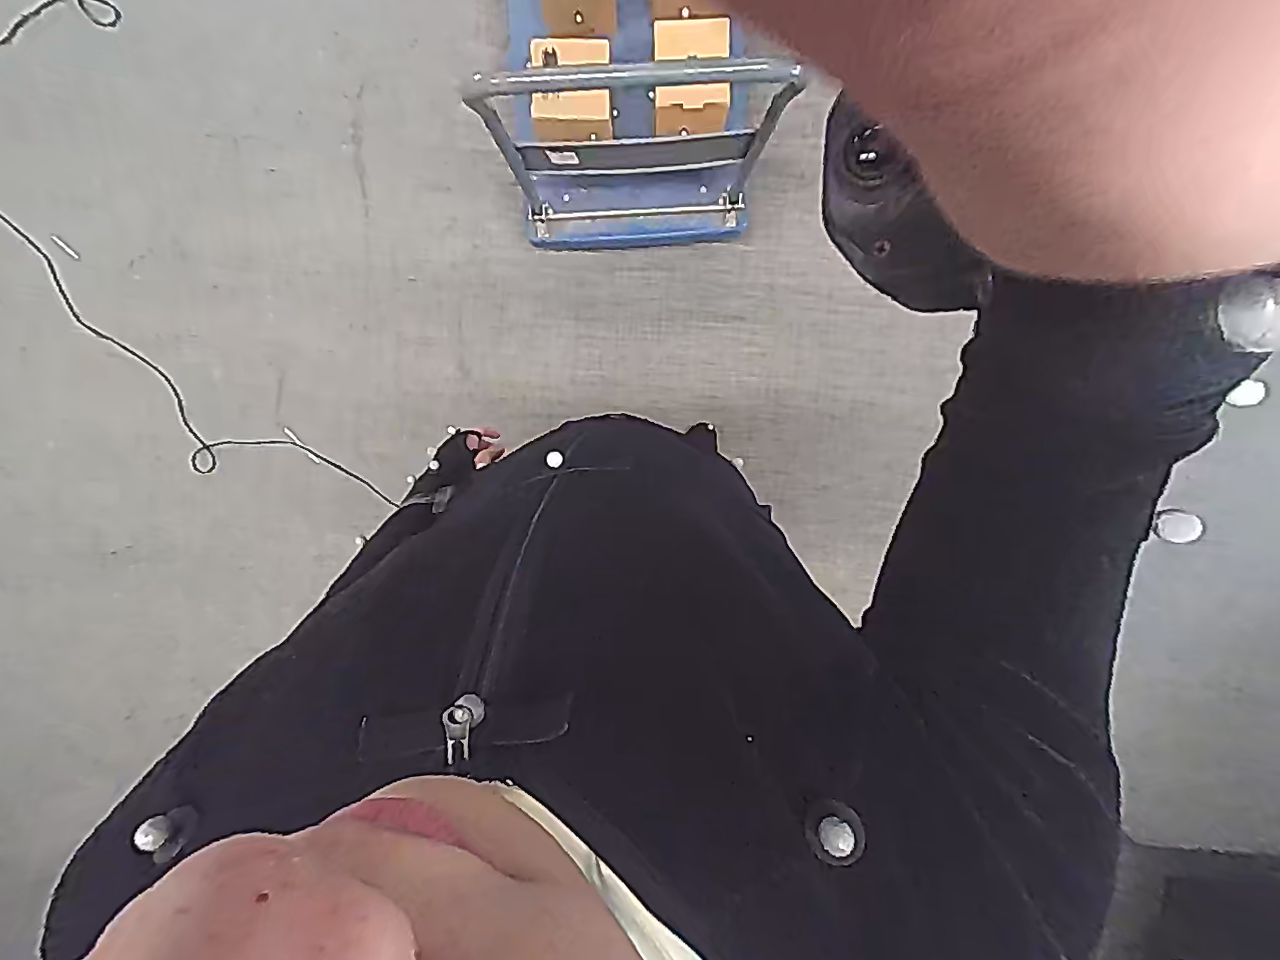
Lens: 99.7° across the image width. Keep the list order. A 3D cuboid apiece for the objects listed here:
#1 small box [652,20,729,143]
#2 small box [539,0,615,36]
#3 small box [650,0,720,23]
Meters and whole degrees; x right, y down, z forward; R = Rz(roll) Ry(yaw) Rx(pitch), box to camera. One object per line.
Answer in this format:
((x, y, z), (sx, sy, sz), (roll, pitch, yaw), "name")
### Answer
((0.113, -0.924, 1.266), (0.168, 0.176, 0.179), (-2, 97, 0), "small box")
((-0.151, -1.162, 1.238), (0.168, 0.176, 0.179), (-6, 97, 0), "small box")
((0.099, -1.192, 1.232), (0.168, 0.176, 0.179), (-6, 98, 2), "small box")
